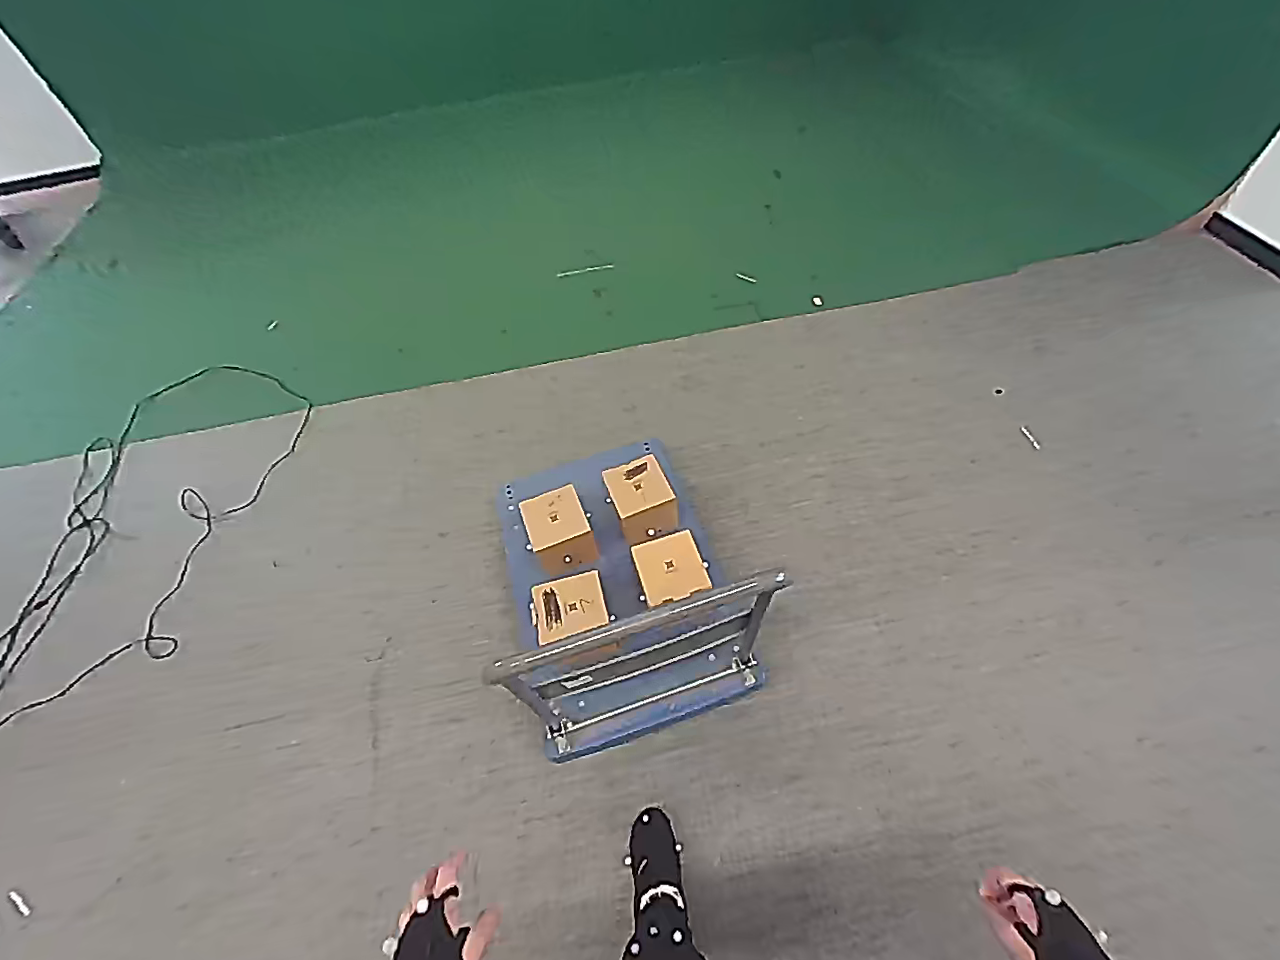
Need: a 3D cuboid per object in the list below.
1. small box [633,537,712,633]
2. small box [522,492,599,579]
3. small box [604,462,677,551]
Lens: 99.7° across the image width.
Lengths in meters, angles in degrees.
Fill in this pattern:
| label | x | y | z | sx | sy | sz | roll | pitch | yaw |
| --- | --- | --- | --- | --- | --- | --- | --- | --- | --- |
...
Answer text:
| label | x | y | z | sx | sy | sz | roll | pitch | yaw |
| --- | --- | --- | --- | --- | --- | --- | --- | --- | --- |
| small box | 0.087 | 0.286 | 1.462 | 0.168 | 0.176 | 0.179 | -17 | 54 | -6 |
| small box | -0.229 | 0.170 | 1.581 | 0.168 | 0.176 | 0.179 | -20 | 54 | -9 |
| small box | 0.004 | 0.082 | 1.619 | 0.168 | 0.176 | 0.179 | -21 | 55 | -8 |
